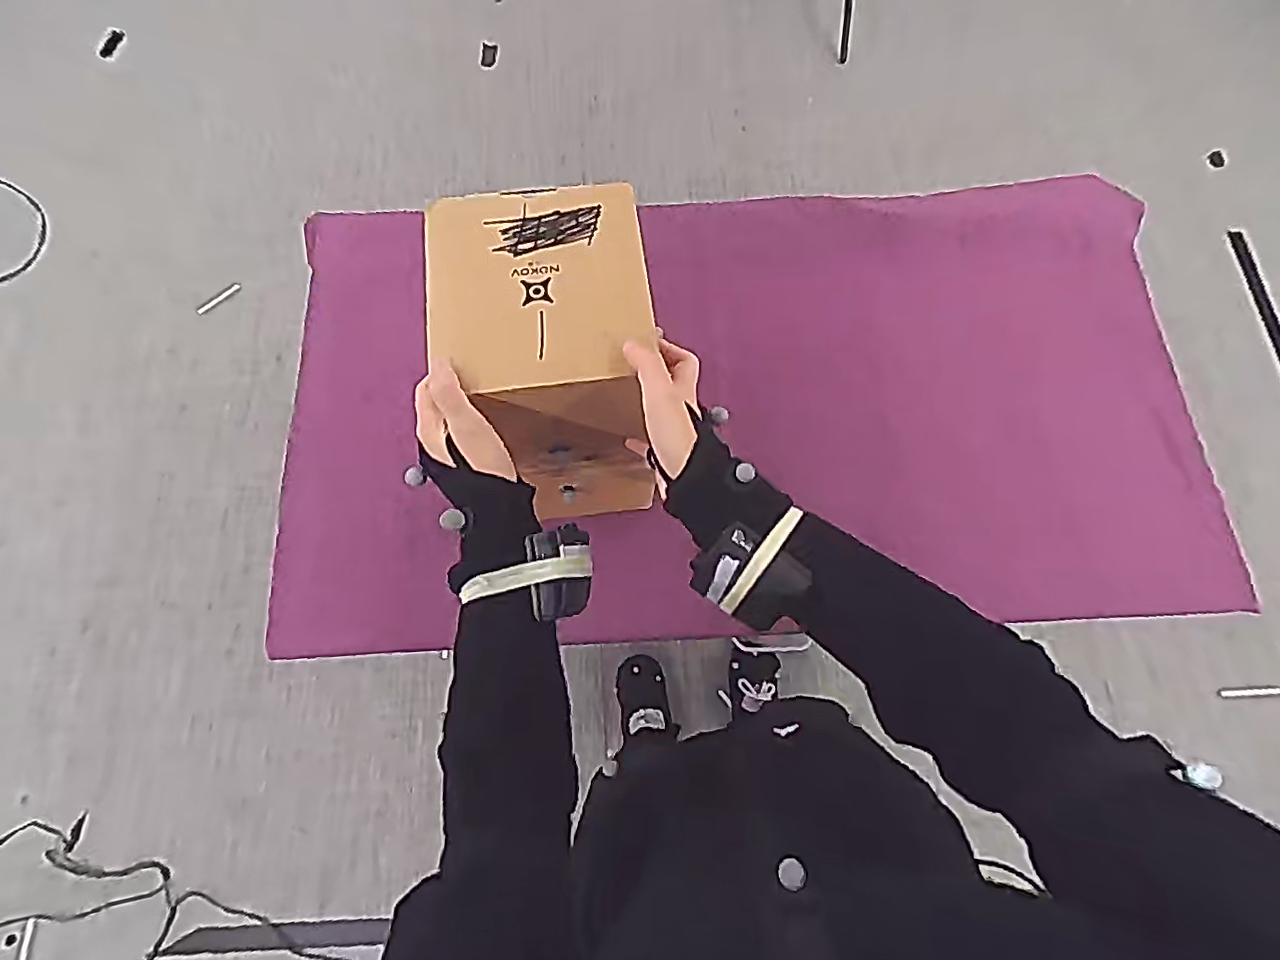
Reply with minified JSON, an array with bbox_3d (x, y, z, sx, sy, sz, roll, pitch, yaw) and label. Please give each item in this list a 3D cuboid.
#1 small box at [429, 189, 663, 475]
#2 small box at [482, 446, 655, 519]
[{"bbox_3d":[-0.076,-0.120,0.481,0.168,0.176,0.179,-7,71,-3],"label":"small box"},{"bbox_3d":[-0.080,-0.056,0.639,0.179,0.176,0.168,-6,74,-2],"label":"small box"}]
